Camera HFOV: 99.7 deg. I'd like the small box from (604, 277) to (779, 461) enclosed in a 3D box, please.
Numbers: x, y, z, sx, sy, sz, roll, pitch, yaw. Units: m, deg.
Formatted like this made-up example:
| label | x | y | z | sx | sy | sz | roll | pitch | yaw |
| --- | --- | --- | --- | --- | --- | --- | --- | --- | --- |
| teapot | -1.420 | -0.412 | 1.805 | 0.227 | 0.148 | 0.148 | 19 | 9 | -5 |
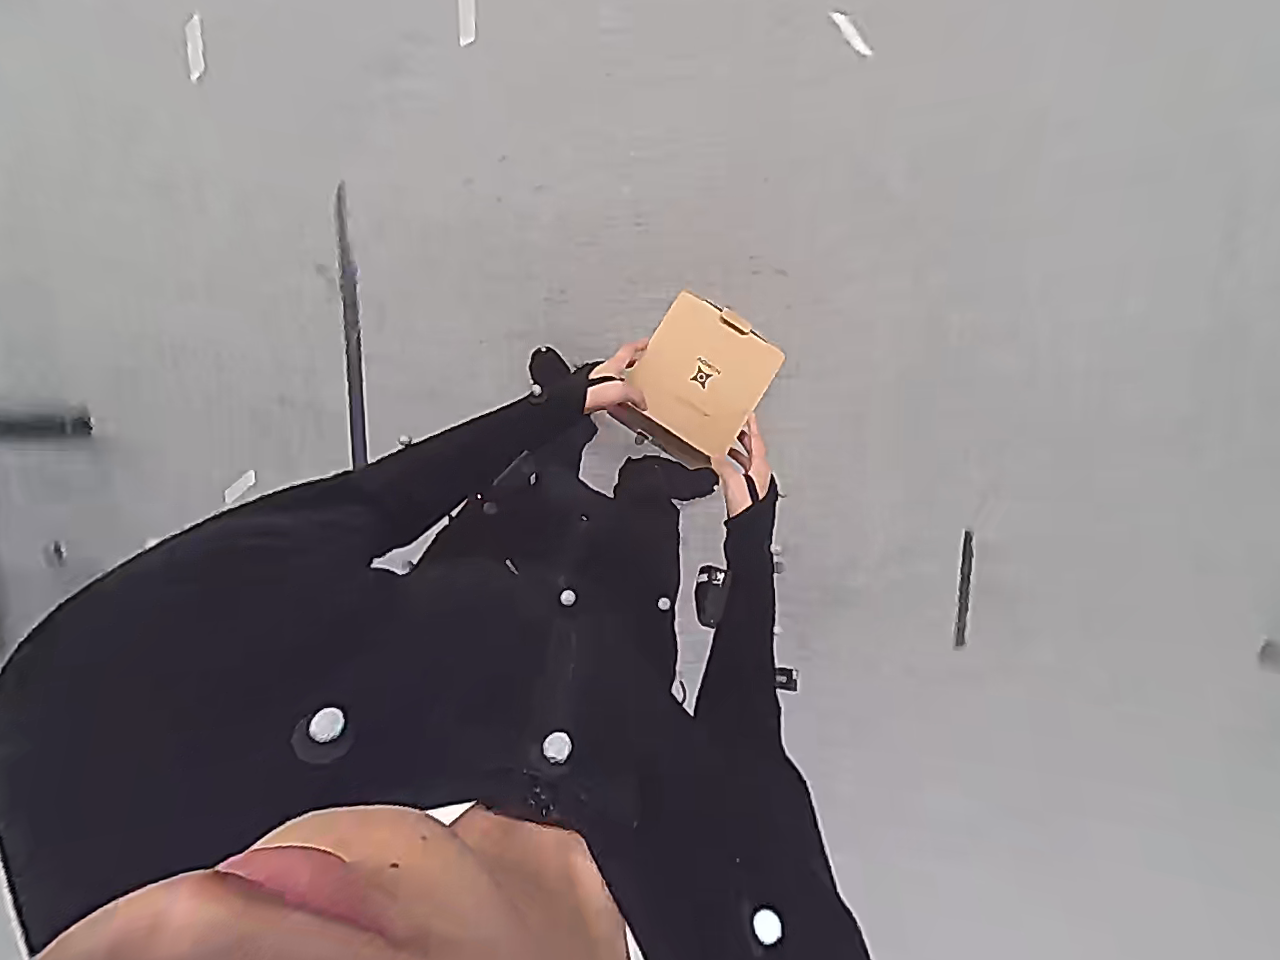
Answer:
| label | x | y | z | sx | sy | sz | roll | pitch | yaw |
| --- | --- | --- | --- | --- | --- | --- | --- | --- | --- |
| small box | 0.060 | -0.144 | 0.768 | 0.168 | 0.176 | 0.179 | 32 | 84 | -5 |
